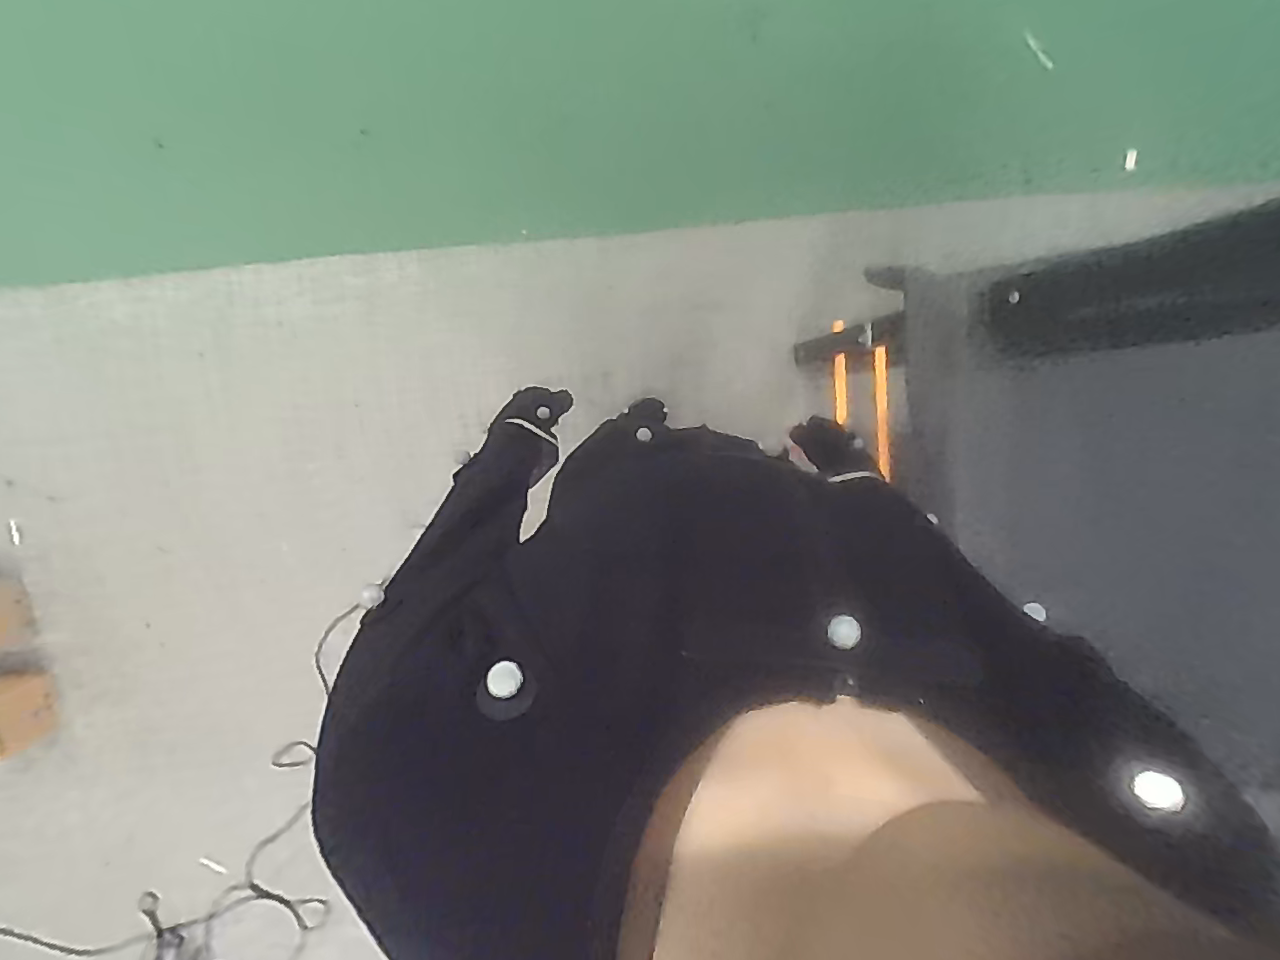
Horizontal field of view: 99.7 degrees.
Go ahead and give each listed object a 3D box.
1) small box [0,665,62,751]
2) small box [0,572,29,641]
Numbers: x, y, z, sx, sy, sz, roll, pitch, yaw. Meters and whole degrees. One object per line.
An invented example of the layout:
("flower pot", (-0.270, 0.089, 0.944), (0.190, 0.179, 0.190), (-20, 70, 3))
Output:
("small box", (-1.703, 0.605, 1.418), (0.179, 0.176, 0.168), (-5, 99, -2))
("small box", (-1.733, 0.343, 1.378), (0.179, 0.176, 0.168), (-6, 98, -1))
